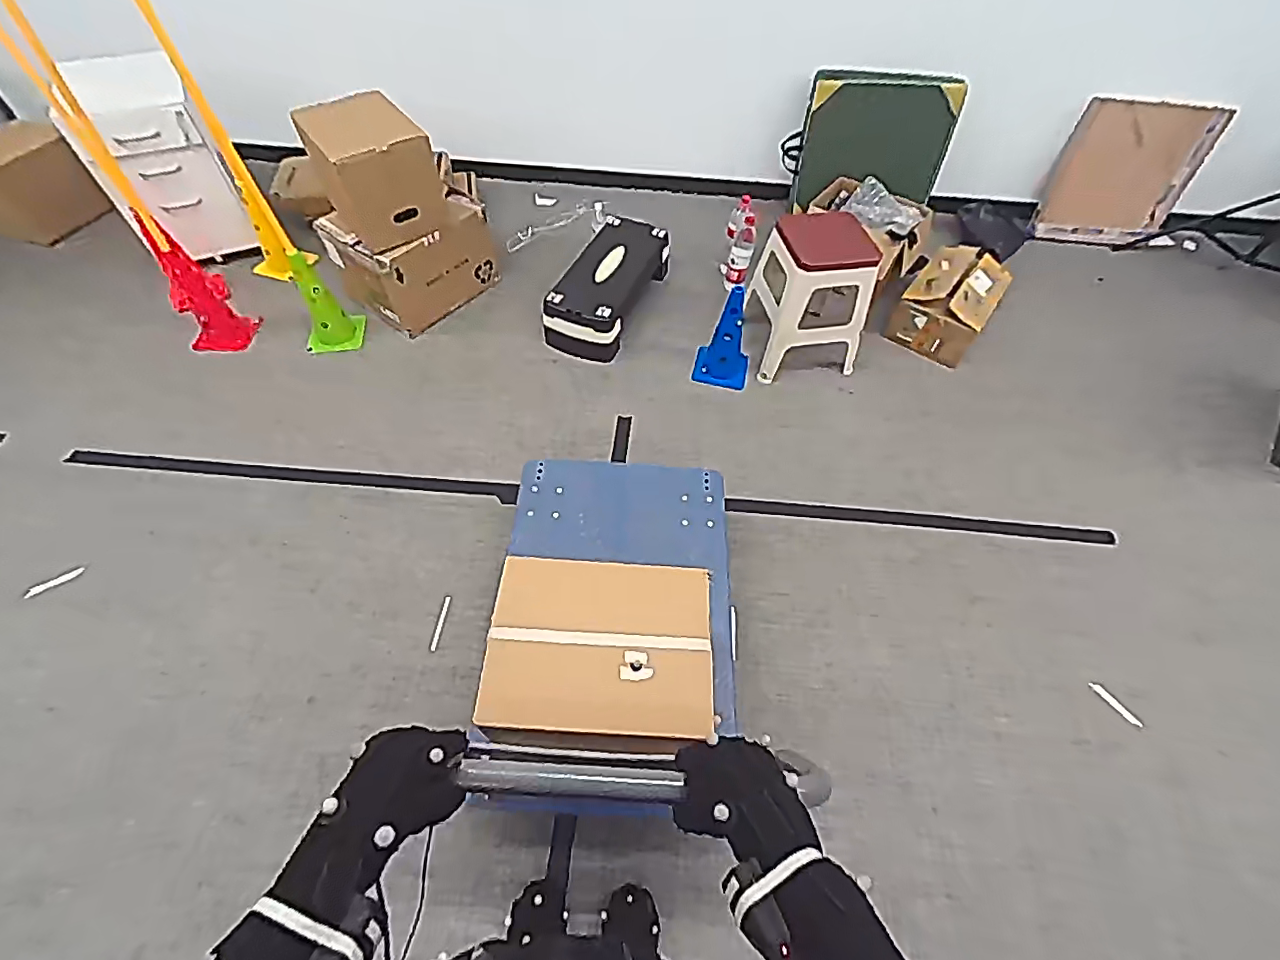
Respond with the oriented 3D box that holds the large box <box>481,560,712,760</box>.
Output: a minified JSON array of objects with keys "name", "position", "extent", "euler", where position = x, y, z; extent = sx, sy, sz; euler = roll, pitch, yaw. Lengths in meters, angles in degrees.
[{"name":"large box","position":[-0.081,0.382,1.124],"extent":[0.408,0.320,0.320],"euler":[4,55,-2]}]
